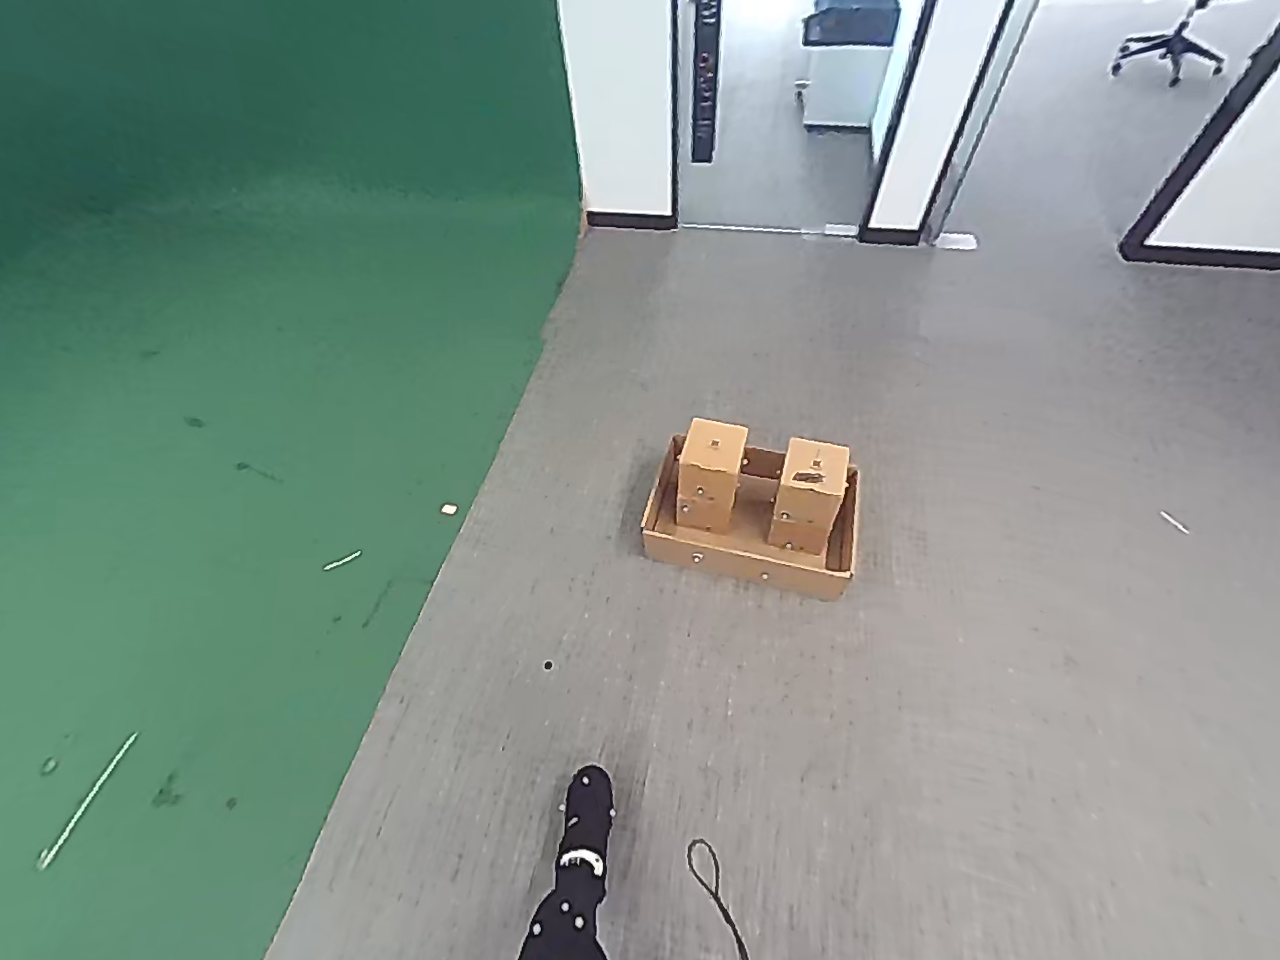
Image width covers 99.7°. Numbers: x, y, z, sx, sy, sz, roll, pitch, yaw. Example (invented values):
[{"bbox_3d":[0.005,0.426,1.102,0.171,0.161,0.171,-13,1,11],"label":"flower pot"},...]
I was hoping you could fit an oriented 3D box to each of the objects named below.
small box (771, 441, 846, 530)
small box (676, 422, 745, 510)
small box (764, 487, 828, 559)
[{"bbox_3d":[0.473,0.019,1.531,0.168,0.176,0.179,12,54,13],"label":"small box"},{"bbox_3d":[0.203,-0.040,1.591,0.168,0.176,0.179,12,55,11],"label":"small box"},{"bbox_3d":[0.482,0.117,1.664,0.168,0.176,0.179,11,56,12],"label":"small box"}]
